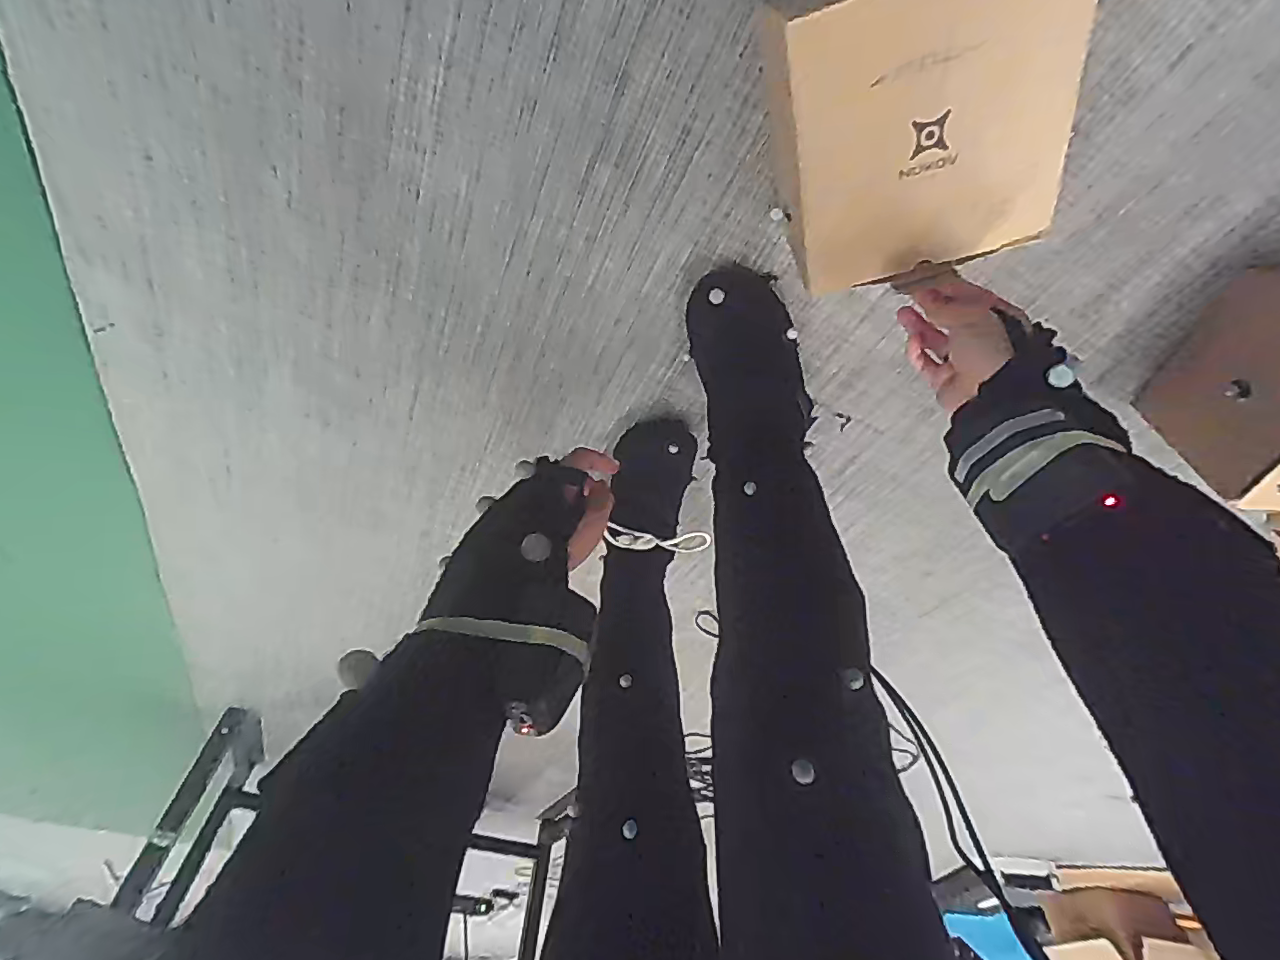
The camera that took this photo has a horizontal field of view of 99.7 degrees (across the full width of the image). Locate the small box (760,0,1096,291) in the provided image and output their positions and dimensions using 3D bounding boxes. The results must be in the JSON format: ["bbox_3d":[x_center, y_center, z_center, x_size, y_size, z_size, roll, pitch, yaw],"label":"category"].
[{"bbox_3d":[0.189,-0.274,0.401,0.168,0.176,0.179,-11,131,14],"label":"small box"}]

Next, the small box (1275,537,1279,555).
[{"bbox_3d":[1.031,0.133,0.720,0.179,0.176,0.168,-33,124,32],"label":"small box"}]
